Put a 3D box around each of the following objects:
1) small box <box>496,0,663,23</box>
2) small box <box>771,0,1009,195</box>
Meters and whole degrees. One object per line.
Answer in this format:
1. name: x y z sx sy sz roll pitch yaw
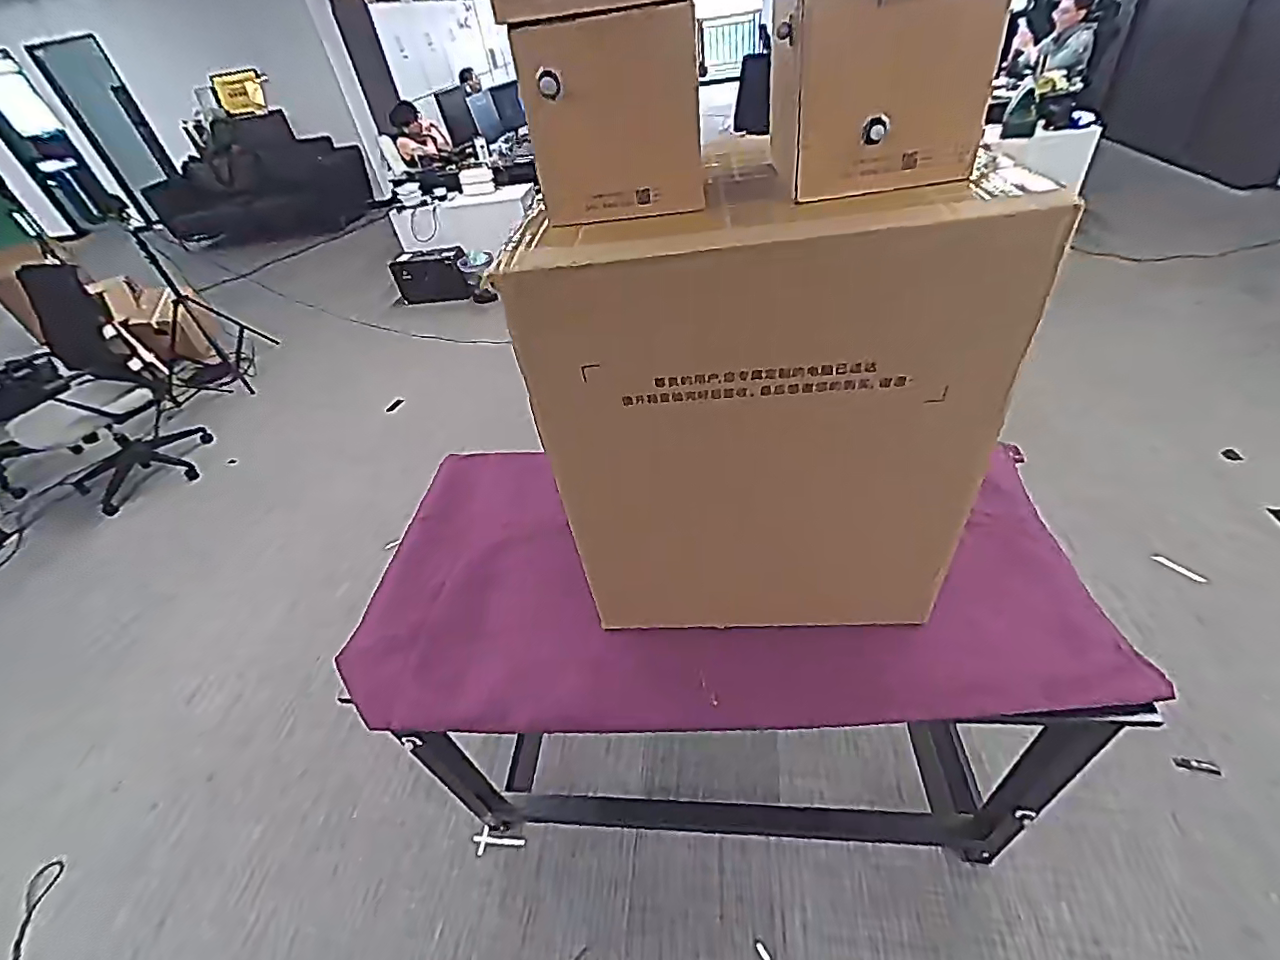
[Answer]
1. small box: -0.051 -0.511 0.462 0.168 0.176 0.179 -4 41 4
2. small box: 0.225 -0.400 0.535 0.168 0.176 0.179 -5 42 7
